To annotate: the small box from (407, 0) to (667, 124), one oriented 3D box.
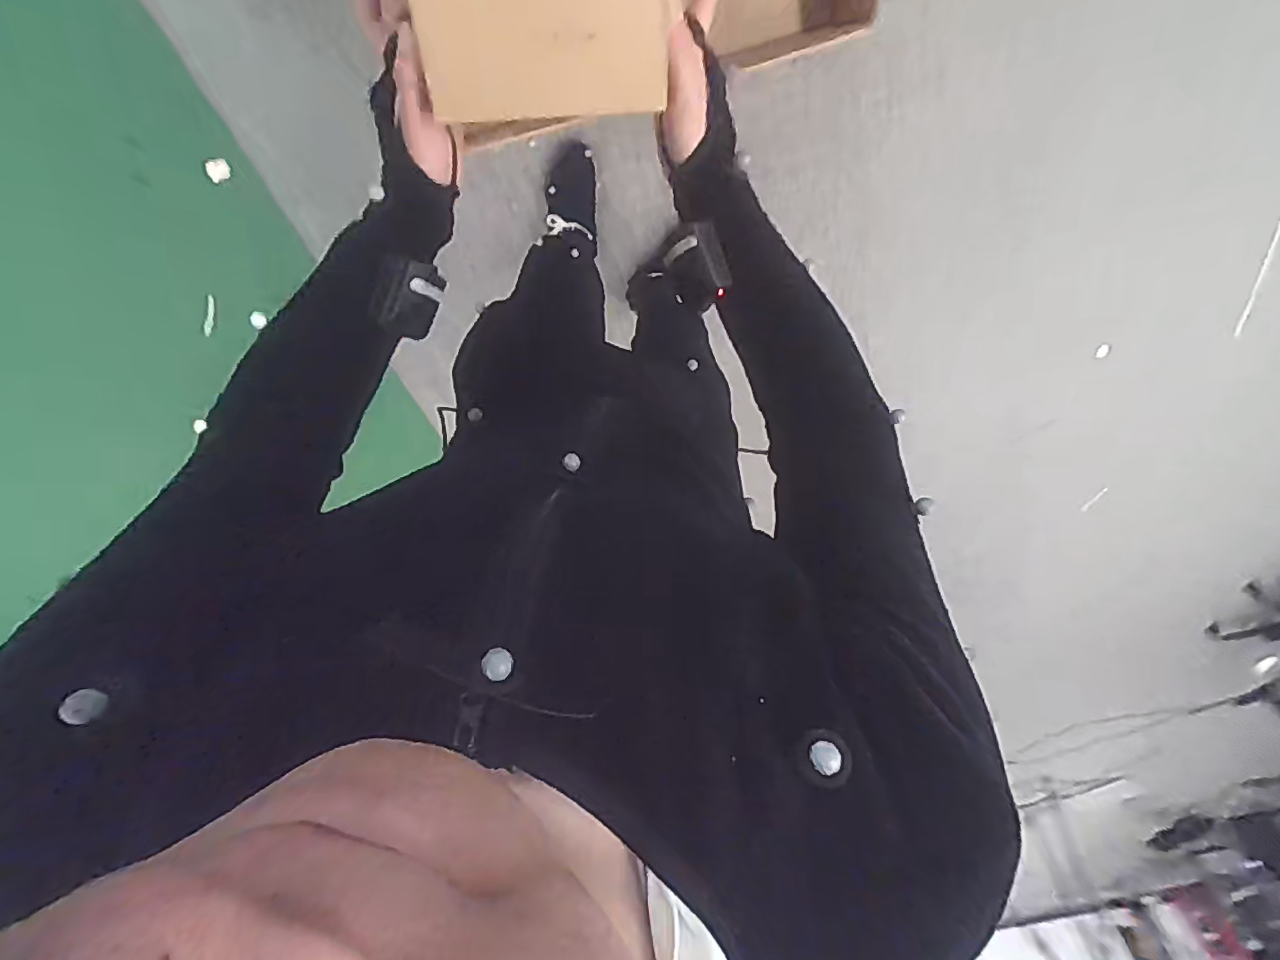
[{"bbox_3d":[-0.074,-0.371,0.382,0.168,0.176,0.179,-6,133,-5],"label":"small box"}]
